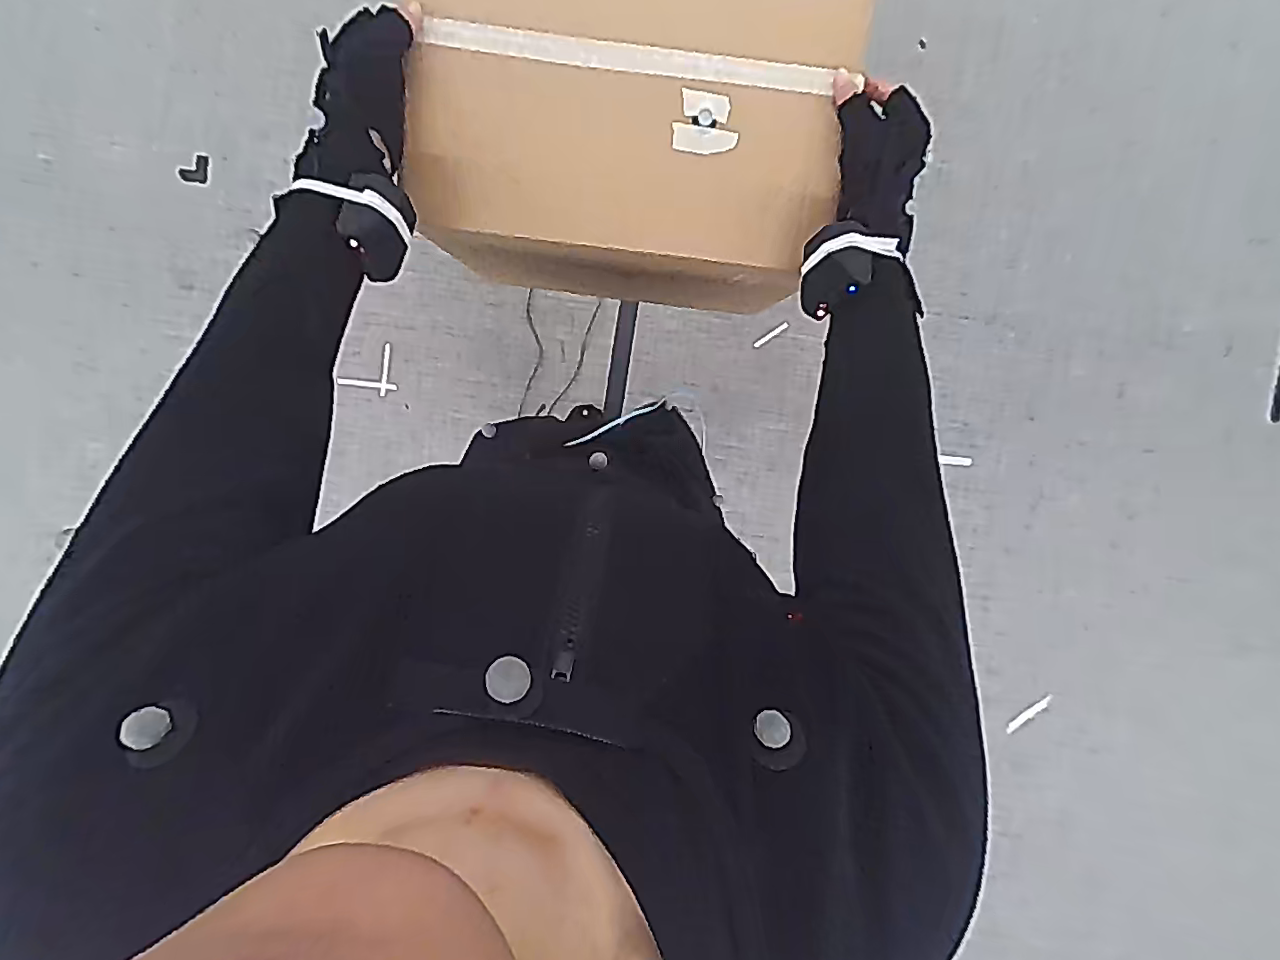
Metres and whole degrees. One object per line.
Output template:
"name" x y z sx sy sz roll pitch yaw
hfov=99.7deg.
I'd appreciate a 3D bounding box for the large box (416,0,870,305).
"large box" -0.004 -0.403 0.632 0.408 0.320 0.320 6 101 -3
